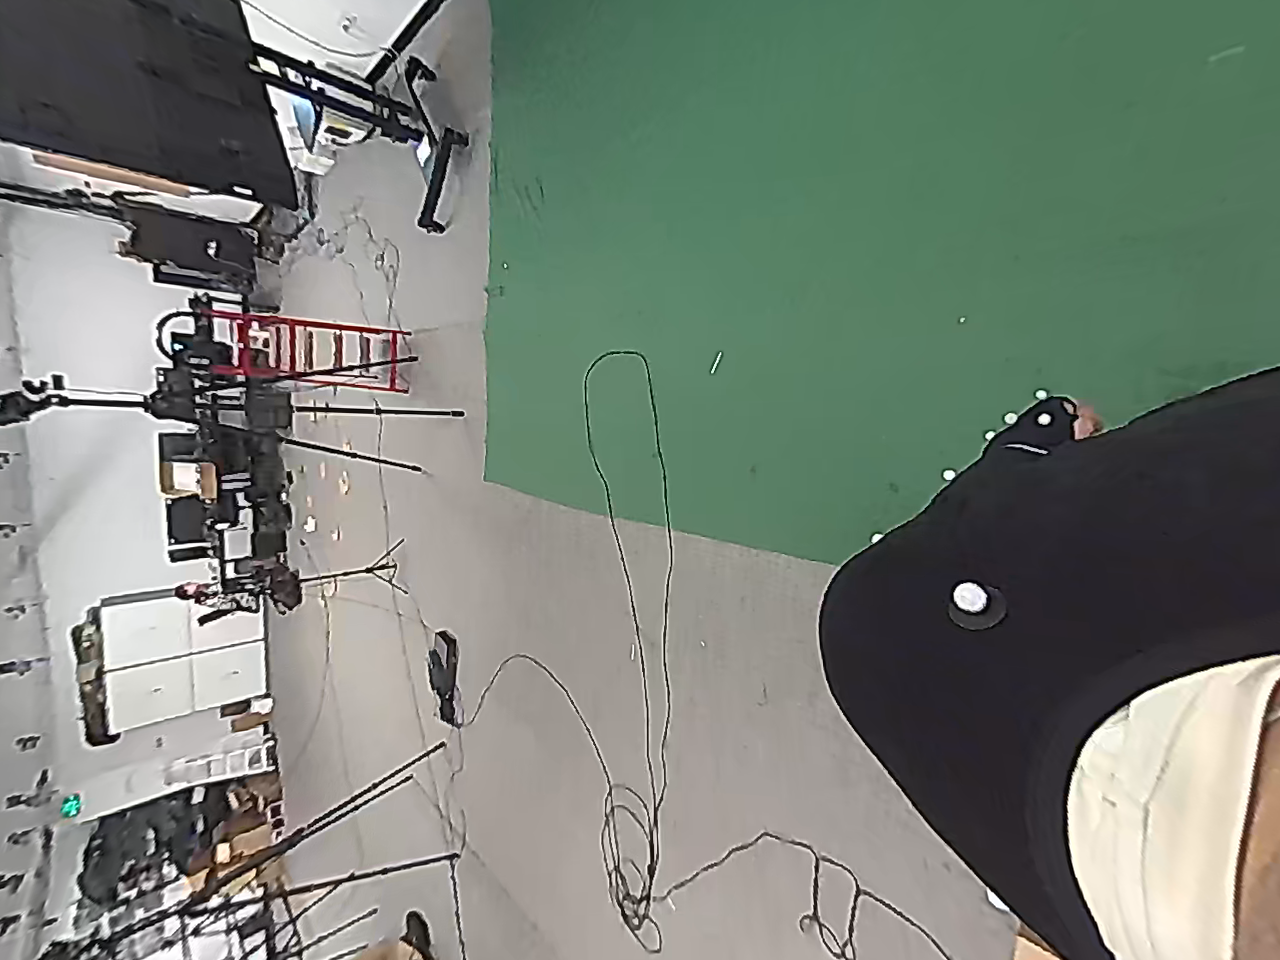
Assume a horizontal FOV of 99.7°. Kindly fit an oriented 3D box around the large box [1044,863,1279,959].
[{"bbox_3d":[1.122,1.135,1.146,0.408,0.320,0.320,6,97,45],"label":"large box"}]
